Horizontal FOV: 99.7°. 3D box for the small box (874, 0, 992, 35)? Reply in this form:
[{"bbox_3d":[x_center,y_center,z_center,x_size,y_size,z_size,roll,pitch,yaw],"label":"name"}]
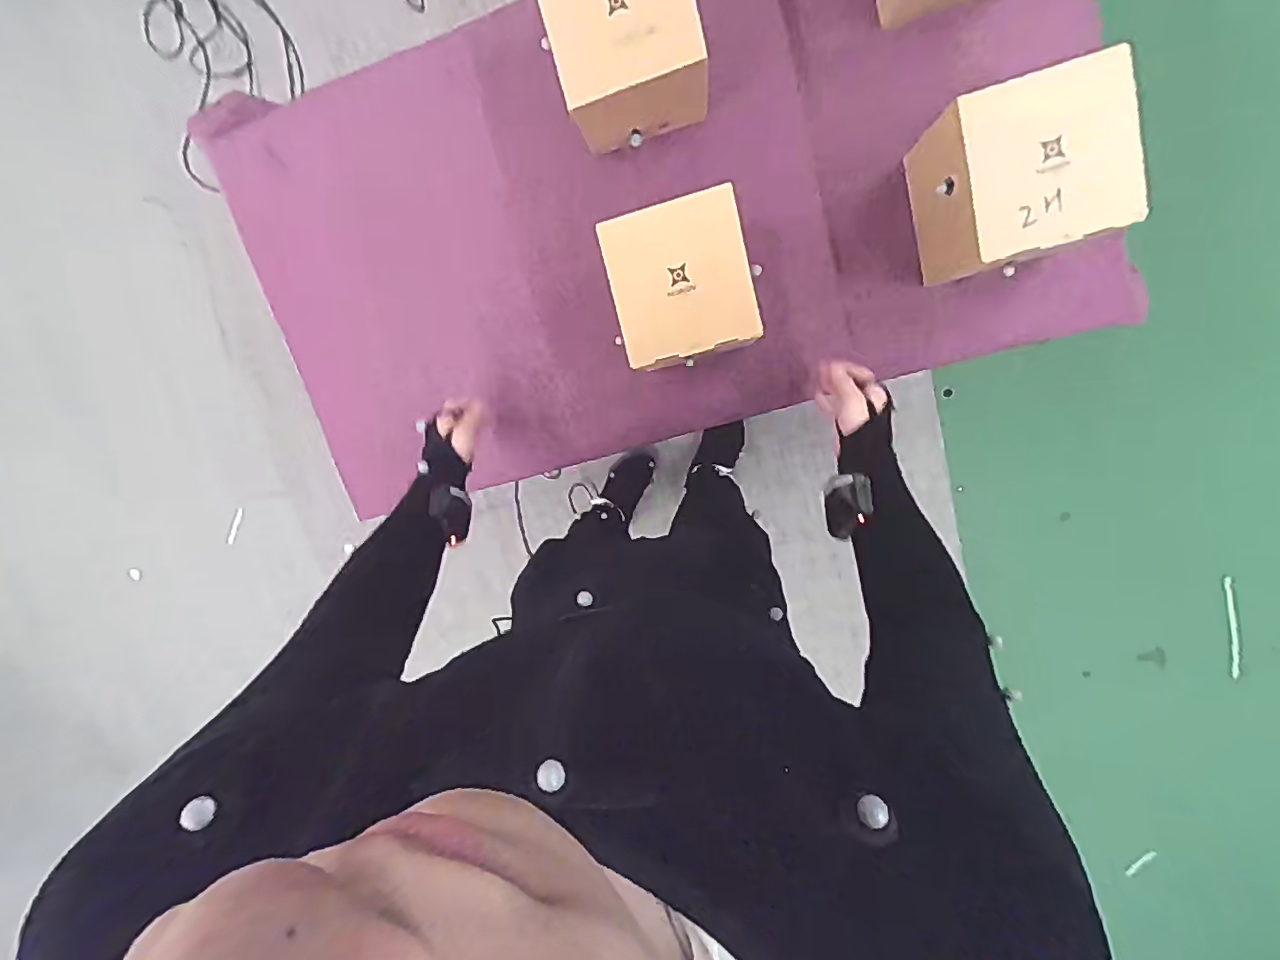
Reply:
[{"bbox_3d":[0.356,-0.655,0.595,0.168,0.176,0.179,-14,102,11],"label":"small box"}]

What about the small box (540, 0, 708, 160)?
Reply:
[{"bbox_3d":[-0.017,-0.535,0.667,0.168,0.176,0.179,-13,102,9],"label":"small box"}]

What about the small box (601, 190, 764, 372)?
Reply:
[{"bbox_3d":[0.057,-0.248,0.721,0.168,0.176,0.179,-13,100,9],"label":"small box"}]

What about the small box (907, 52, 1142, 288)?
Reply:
[{"bbox_3d":[0.442,-0.350,0.650,0.168,0.176,0.179,-13,99,10],"label":"small box"}]
